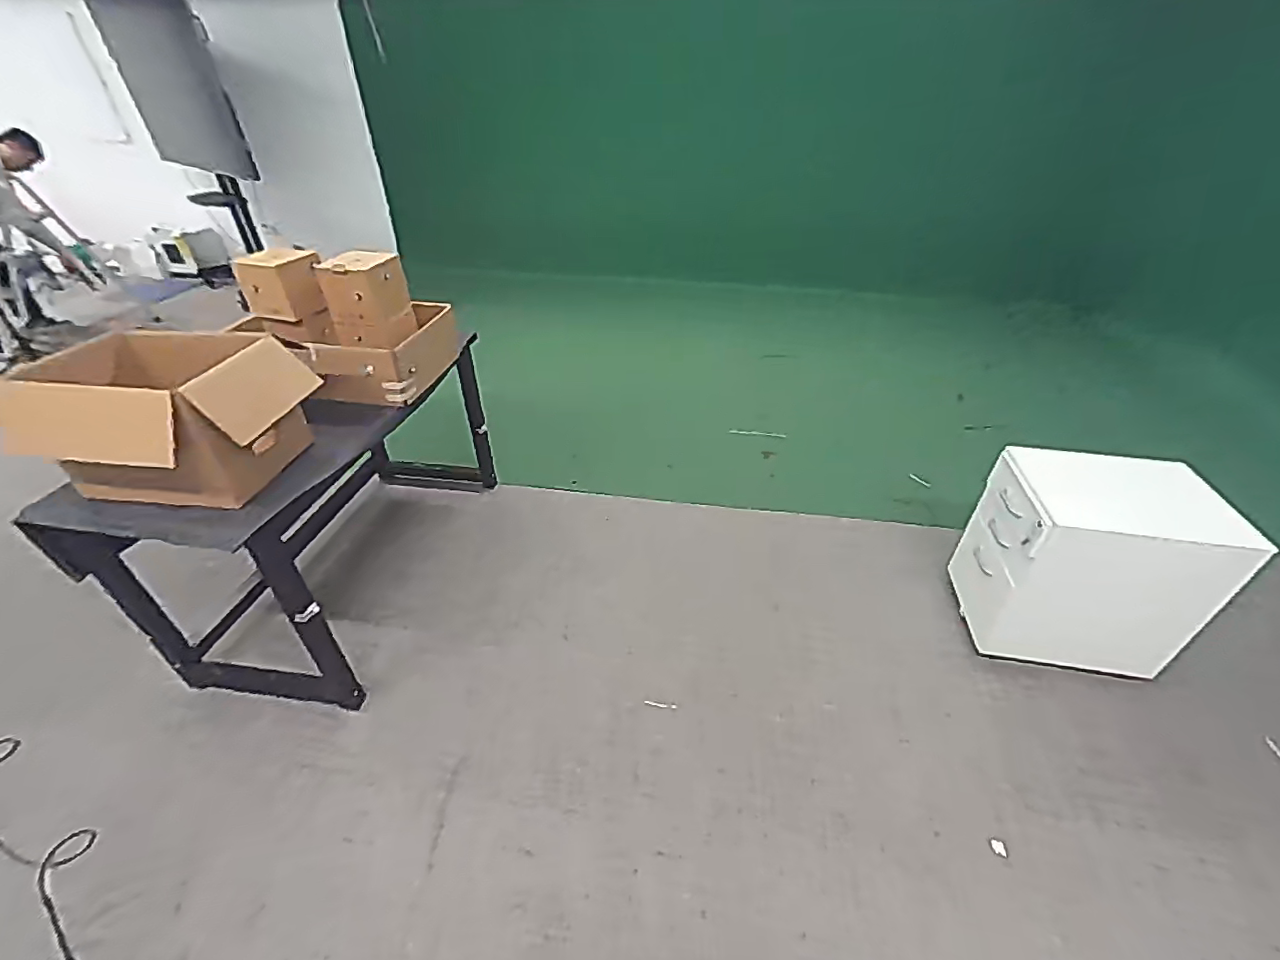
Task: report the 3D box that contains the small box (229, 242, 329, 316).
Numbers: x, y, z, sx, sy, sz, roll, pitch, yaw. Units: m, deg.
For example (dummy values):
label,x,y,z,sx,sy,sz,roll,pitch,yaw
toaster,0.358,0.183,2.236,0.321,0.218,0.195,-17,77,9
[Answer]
label,x,y,z,sx,sy,sz,roll,pitch,yaw
small box,-1.104,-0.622,1.673,0.168,0.176,0.179,11,38,12

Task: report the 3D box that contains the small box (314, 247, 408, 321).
label,x,y,z,sx,sy,sz,roll,pitch,yaw
small box,-0.836,-0.596,1.645,0.168,0.176,0.179,8,38,9
